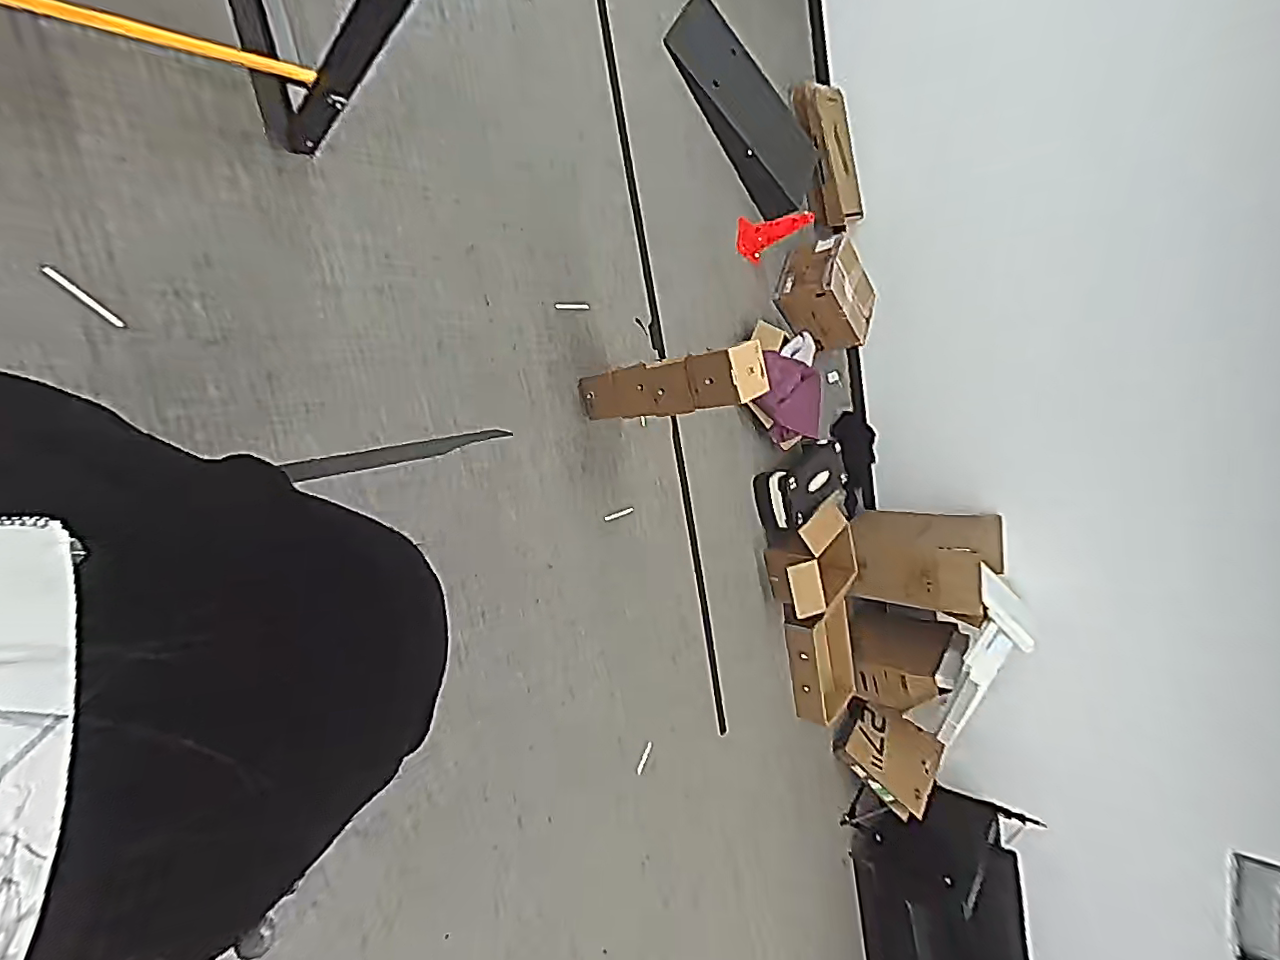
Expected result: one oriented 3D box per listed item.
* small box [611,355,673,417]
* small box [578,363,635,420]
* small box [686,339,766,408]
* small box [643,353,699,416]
[{"bbox_3d":[0.021,-0.325,1.890,0.168,0.176,0.179,-25,107,-43],"label":"small box"},{"bbox_3d":[-0.100,-0.328,2.002,0.179,0.176,0.168,-27,108,-41],"label":"small box"},{"bbox_3d":[0.259,-0.325,1.664,0.179,0.176,0.168,-28,109,-42],"label":"small box"},{"bbox_3d":[0.138,-0.318,1.774,0.179,0.176,0.168,-30,110,-42],"label":"small box"}]
